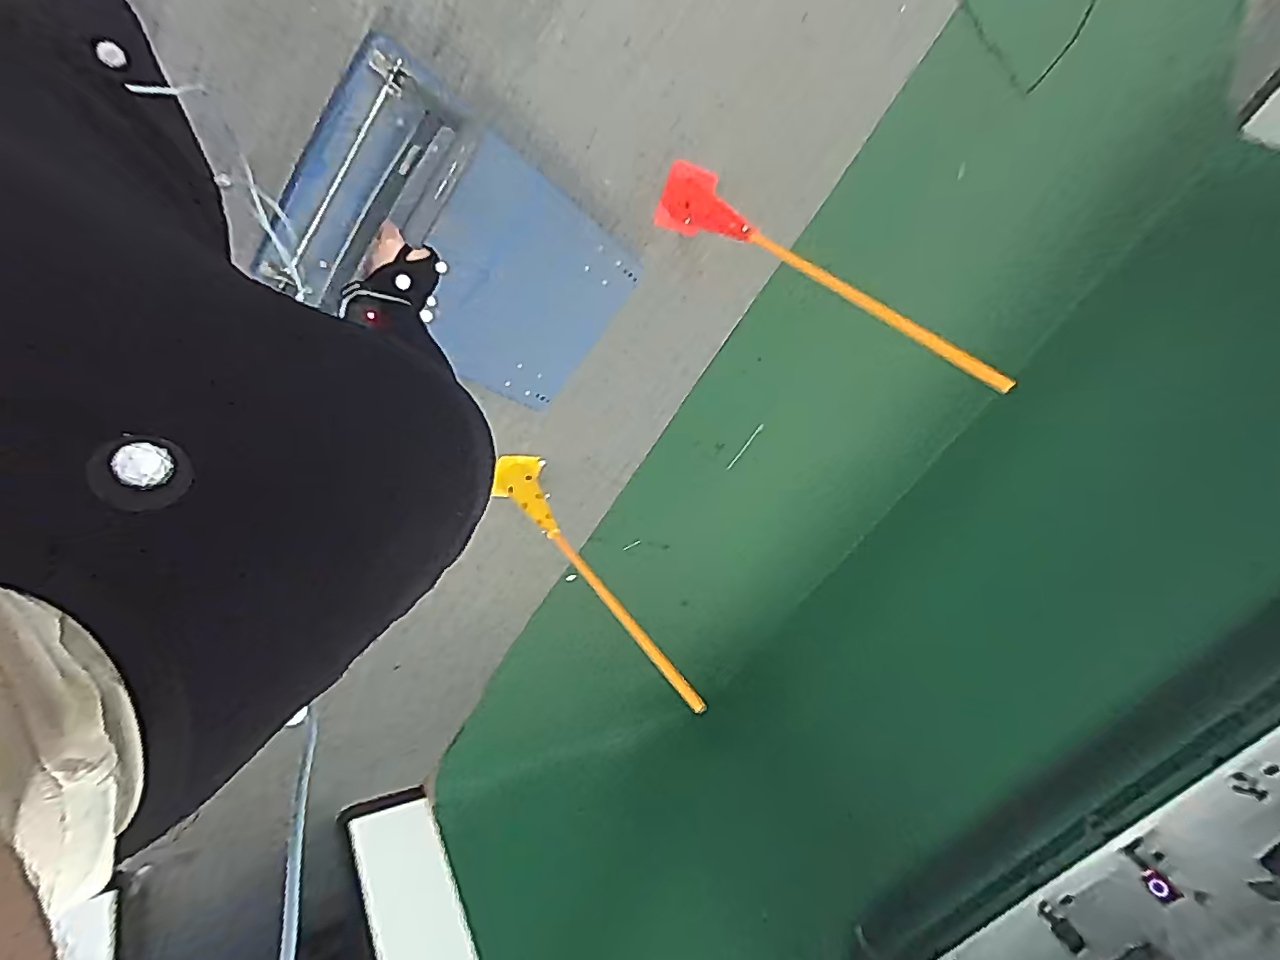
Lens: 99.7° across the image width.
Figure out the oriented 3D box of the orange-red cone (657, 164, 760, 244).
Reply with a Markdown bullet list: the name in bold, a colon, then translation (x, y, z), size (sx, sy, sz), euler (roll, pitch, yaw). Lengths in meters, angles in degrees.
- **orange-red cone**: translation (0.247, -0.823, 1.699), size (0.198, 0.360, 0.199), euler (-3, 129, -40)
